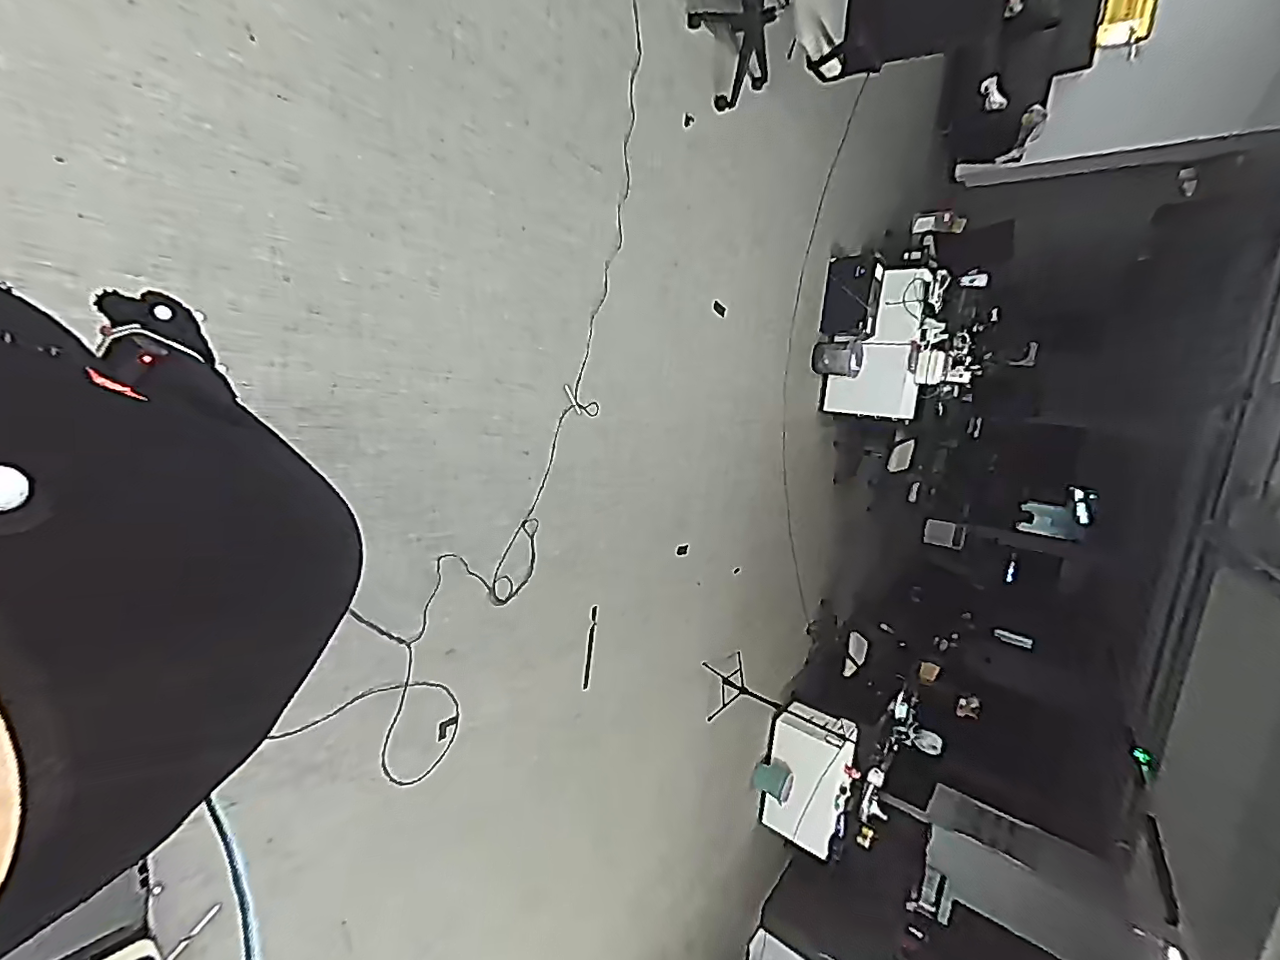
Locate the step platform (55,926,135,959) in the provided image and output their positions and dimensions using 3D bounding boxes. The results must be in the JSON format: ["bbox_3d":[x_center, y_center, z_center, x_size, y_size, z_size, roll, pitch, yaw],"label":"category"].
[{"bbox_3d":[-1.346,1.192,0.964,0.684,0.204,0.286,-8,107,-51],"label":"step platform"}]
